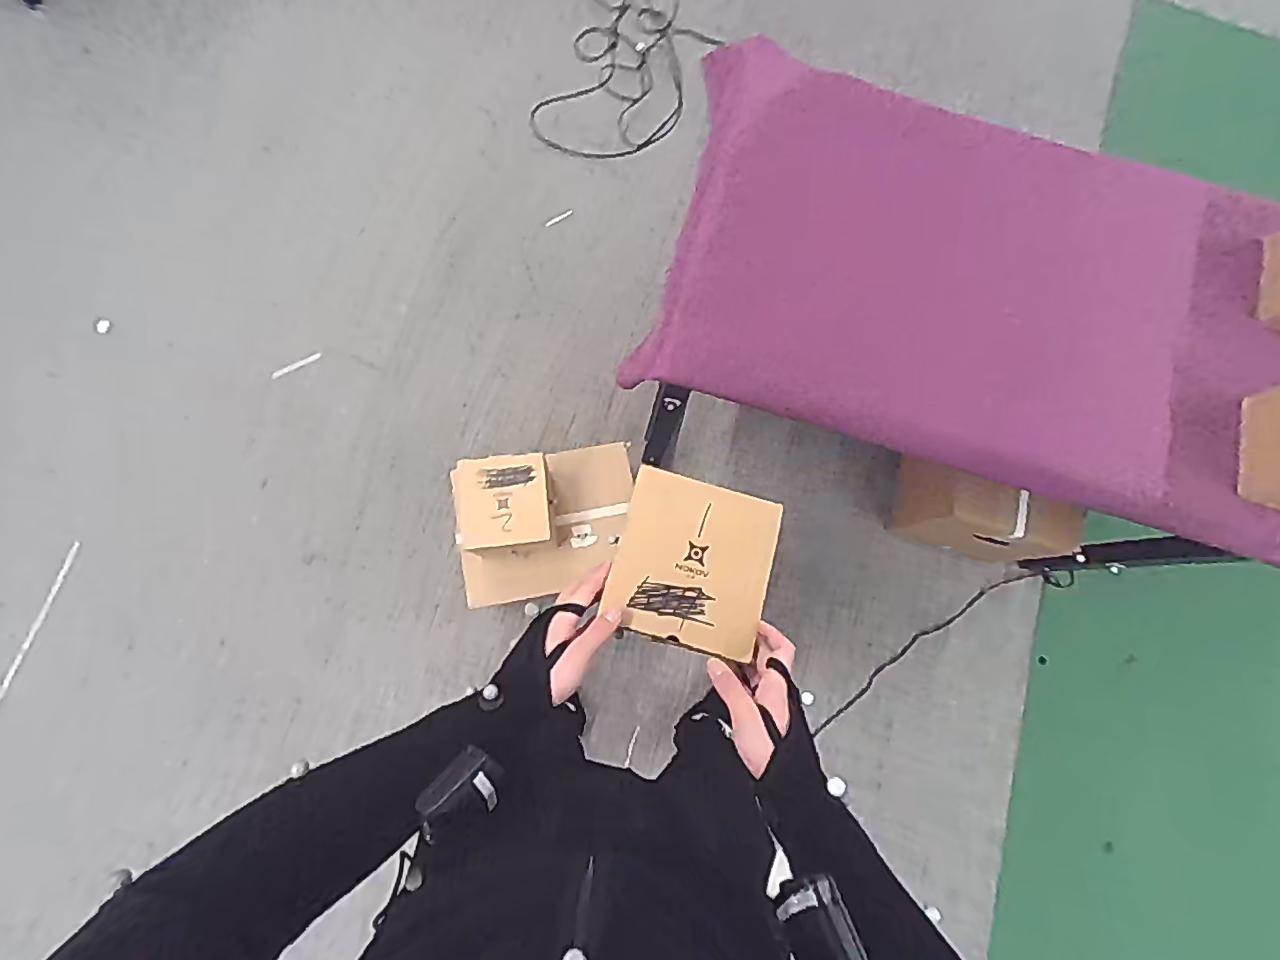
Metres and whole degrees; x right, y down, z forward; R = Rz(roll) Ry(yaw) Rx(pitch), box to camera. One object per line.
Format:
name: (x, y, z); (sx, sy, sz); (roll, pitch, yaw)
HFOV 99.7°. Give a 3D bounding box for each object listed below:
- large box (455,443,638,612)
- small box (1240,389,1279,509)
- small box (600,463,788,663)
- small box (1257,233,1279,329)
large box: (-0.204, 0.130, 1.345); (0.408, 0.320, 0.320); (-10, 79, -7)
small box: (1.033, -0.050, 0.778); (0.168, 0.176, 0.179); (18, 75, 2)
small box: (0.057, 0.104, 0.646); (0.168, 0.176, 0.179); (17, 74, 0)
small box: (1.142, -0.337, 0.847); (0.168, 0.176, 0.179); (18, 78, 3)
